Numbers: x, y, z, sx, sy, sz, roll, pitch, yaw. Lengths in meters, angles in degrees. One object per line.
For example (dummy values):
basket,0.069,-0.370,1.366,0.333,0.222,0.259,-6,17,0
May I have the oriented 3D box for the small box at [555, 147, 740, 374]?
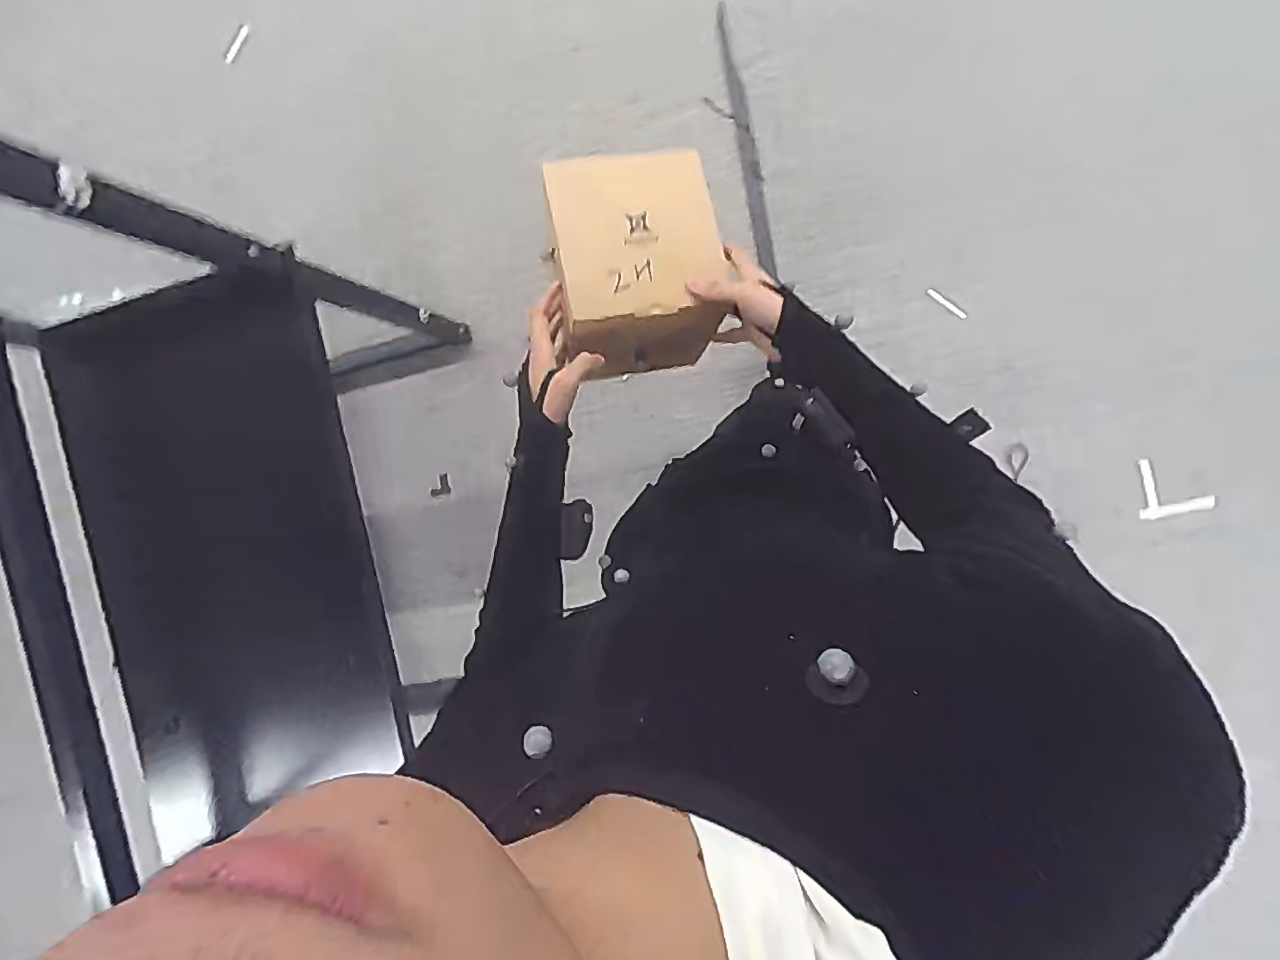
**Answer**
small box,-0.005,-0.238,0.613,0.168,0.176,0.179,-8,81,-10
